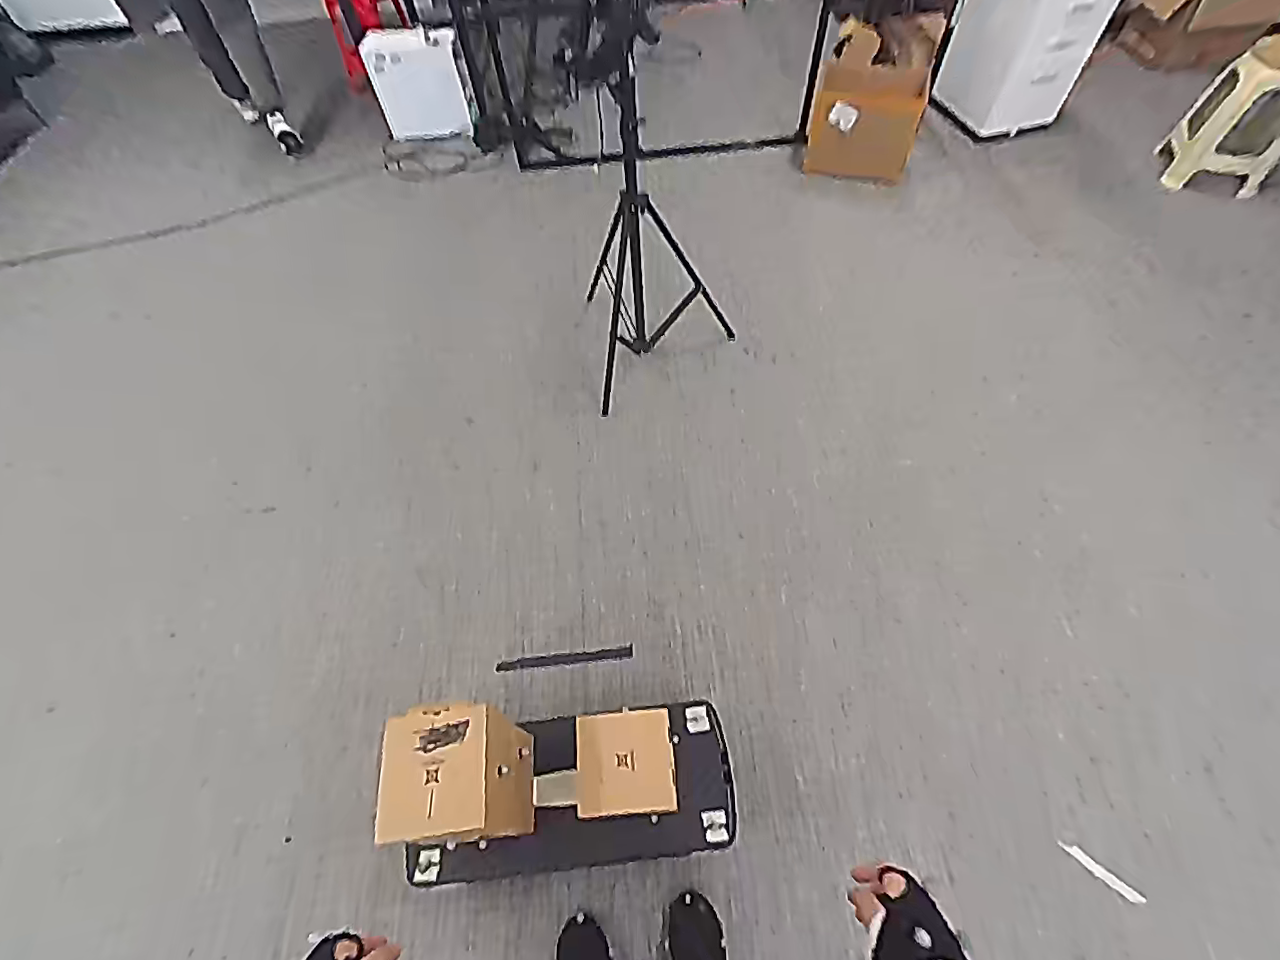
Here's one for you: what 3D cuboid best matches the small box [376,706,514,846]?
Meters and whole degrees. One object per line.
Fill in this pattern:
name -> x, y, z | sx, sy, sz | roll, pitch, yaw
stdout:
small box -> -0.311, 0.495, 0.900 | 0.168, 0.176, 0.179 | -8, 58, -2

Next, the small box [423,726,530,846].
small box -> -0.300, 0.588, 1.035 | 0.168, 0.176, 0.179 | -7, 57, -1

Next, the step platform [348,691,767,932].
step platform -> -0.134, 0.590, 0.982 | 0.684, 0.204, 0.286 | -7, 57, -2

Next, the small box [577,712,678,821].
small box -> -0.021, 0.554, 1.043 | 0.179, 0.176, 0.168 | -7, 57, 2
